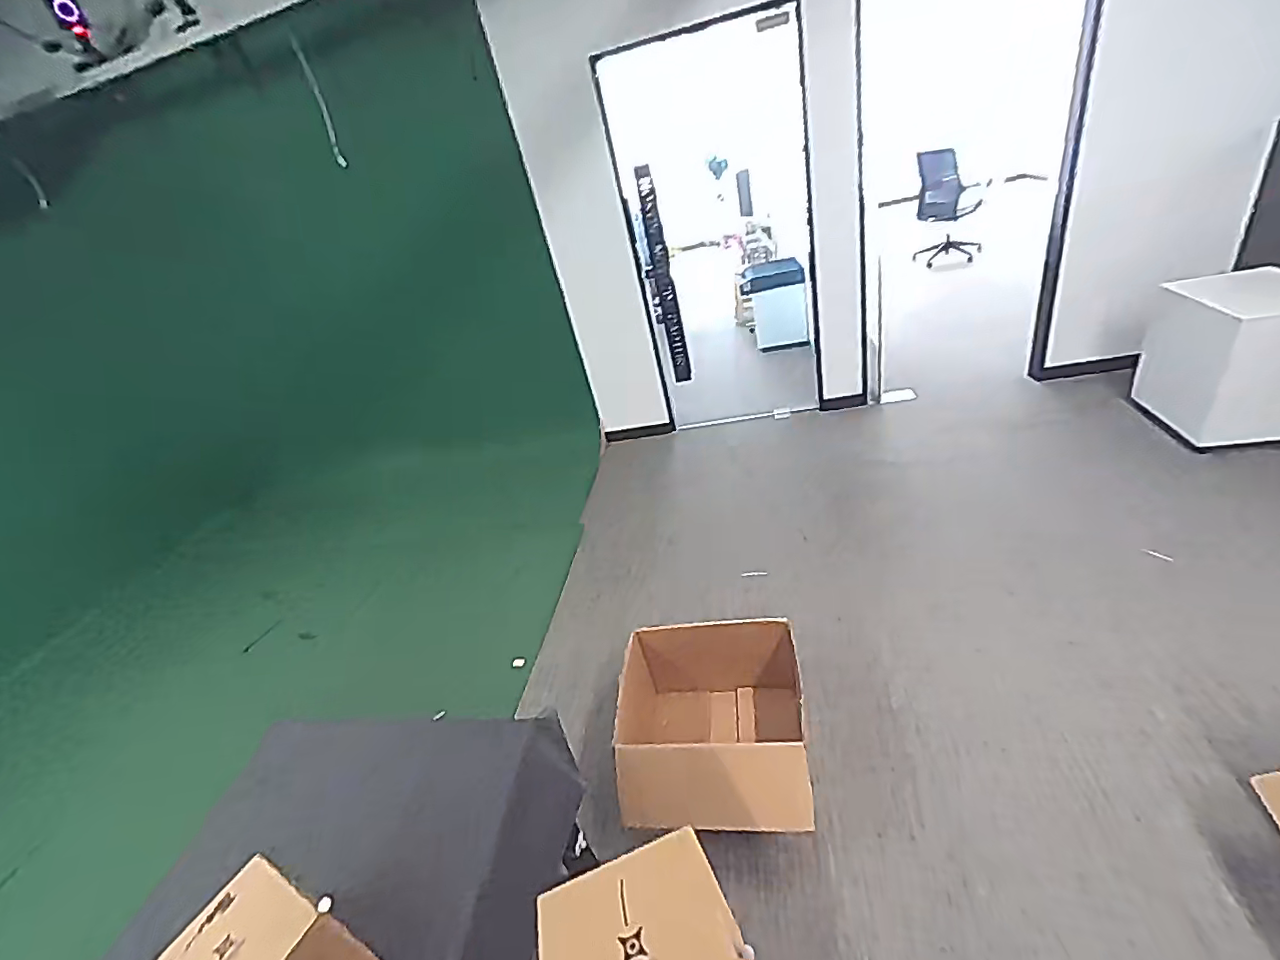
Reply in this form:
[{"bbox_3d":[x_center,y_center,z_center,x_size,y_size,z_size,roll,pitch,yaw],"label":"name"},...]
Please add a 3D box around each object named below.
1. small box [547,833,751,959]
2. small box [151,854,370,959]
[{"bbox_3d":[0.026,0.477,0.481,0.168,0.176,0.179,-20,20,-5],"label":"small box"},{"bbox_3d":[-0.497,0.648,0.709,0.179,0.176,0.168,7,36,31],"label":"small box"}]
